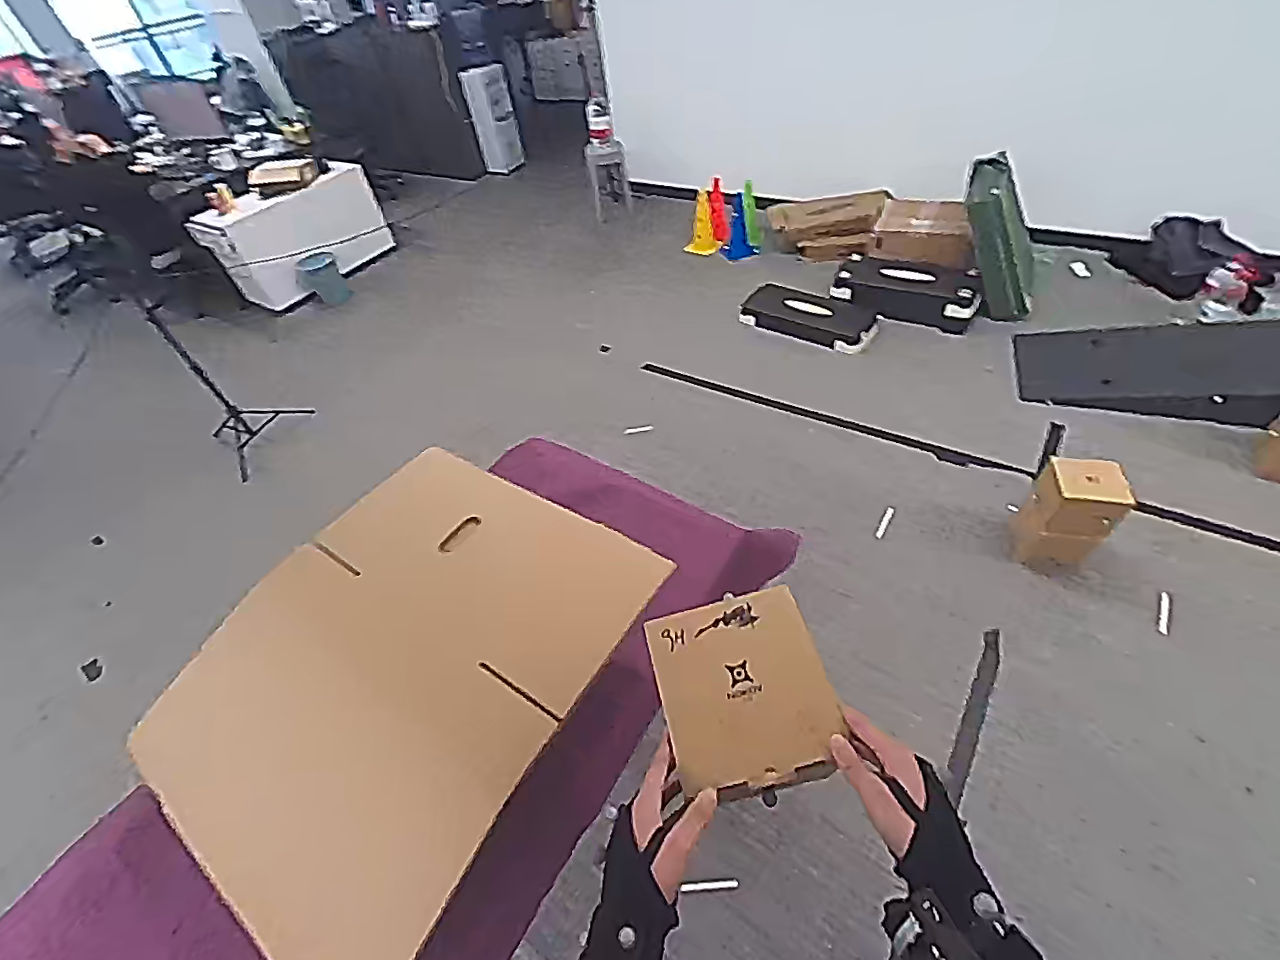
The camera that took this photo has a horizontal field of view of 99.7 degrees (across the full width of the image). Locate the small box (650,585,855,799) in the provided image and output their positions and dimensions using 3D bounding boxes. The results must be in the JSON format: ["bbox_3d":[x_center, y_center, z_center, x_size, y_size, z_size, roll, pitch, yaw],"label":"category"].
[{"bbox_3d":[0.118,0.247,0.613,0.168,0.176,0.179,-15,56,0],"label":"small box"}]
